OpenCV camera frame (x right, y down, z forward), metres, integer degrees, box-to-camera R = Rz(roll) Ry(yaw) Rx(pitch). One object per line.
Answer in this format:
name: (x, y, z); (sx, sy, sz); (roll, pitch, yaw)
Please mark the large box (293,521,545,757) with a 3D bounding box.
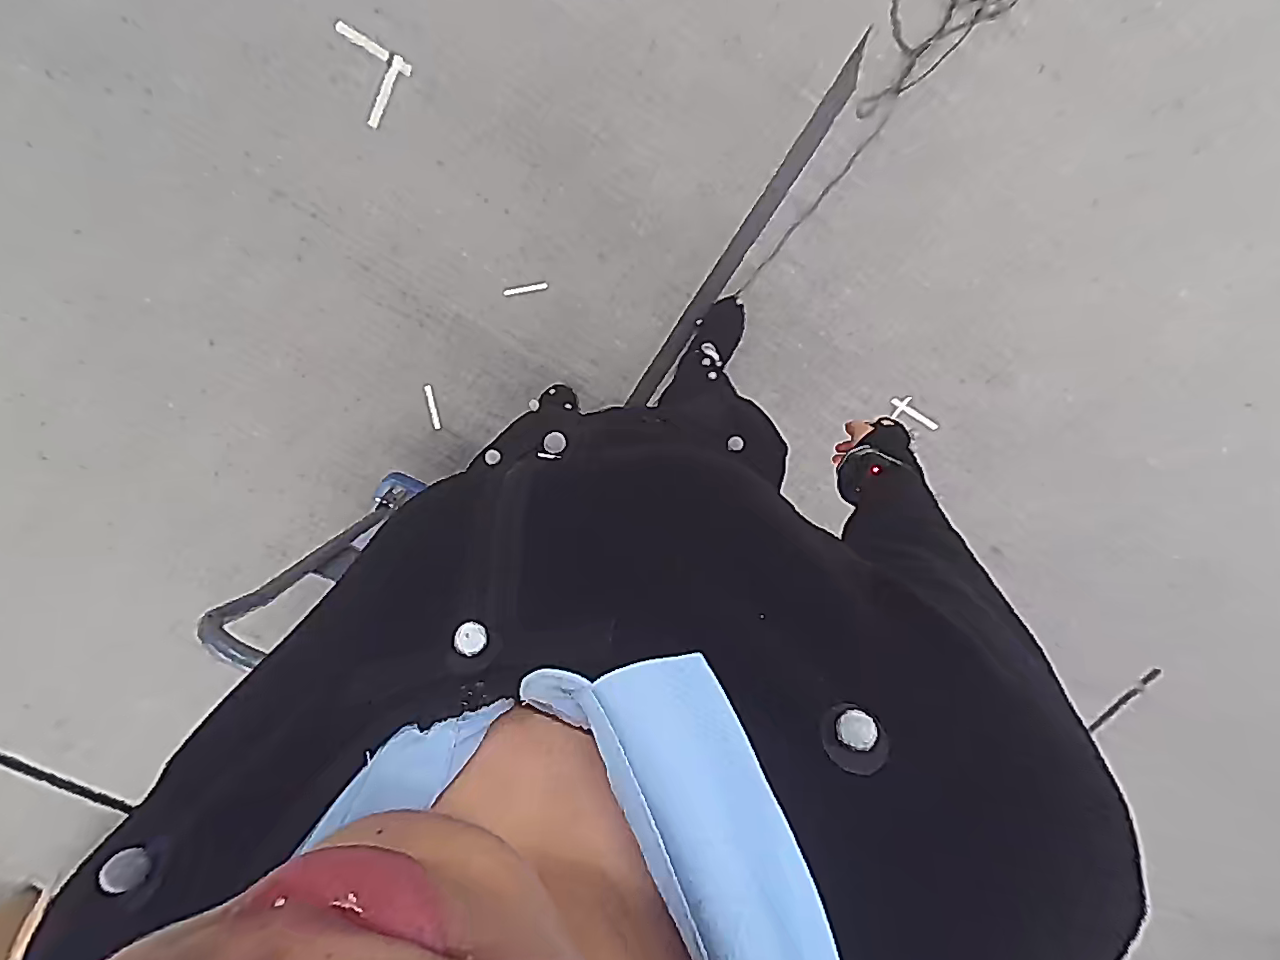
large box: (-0.487, 0.356, 1.270); (0.408, 0.320, 0.320); (28, 103, -8)
